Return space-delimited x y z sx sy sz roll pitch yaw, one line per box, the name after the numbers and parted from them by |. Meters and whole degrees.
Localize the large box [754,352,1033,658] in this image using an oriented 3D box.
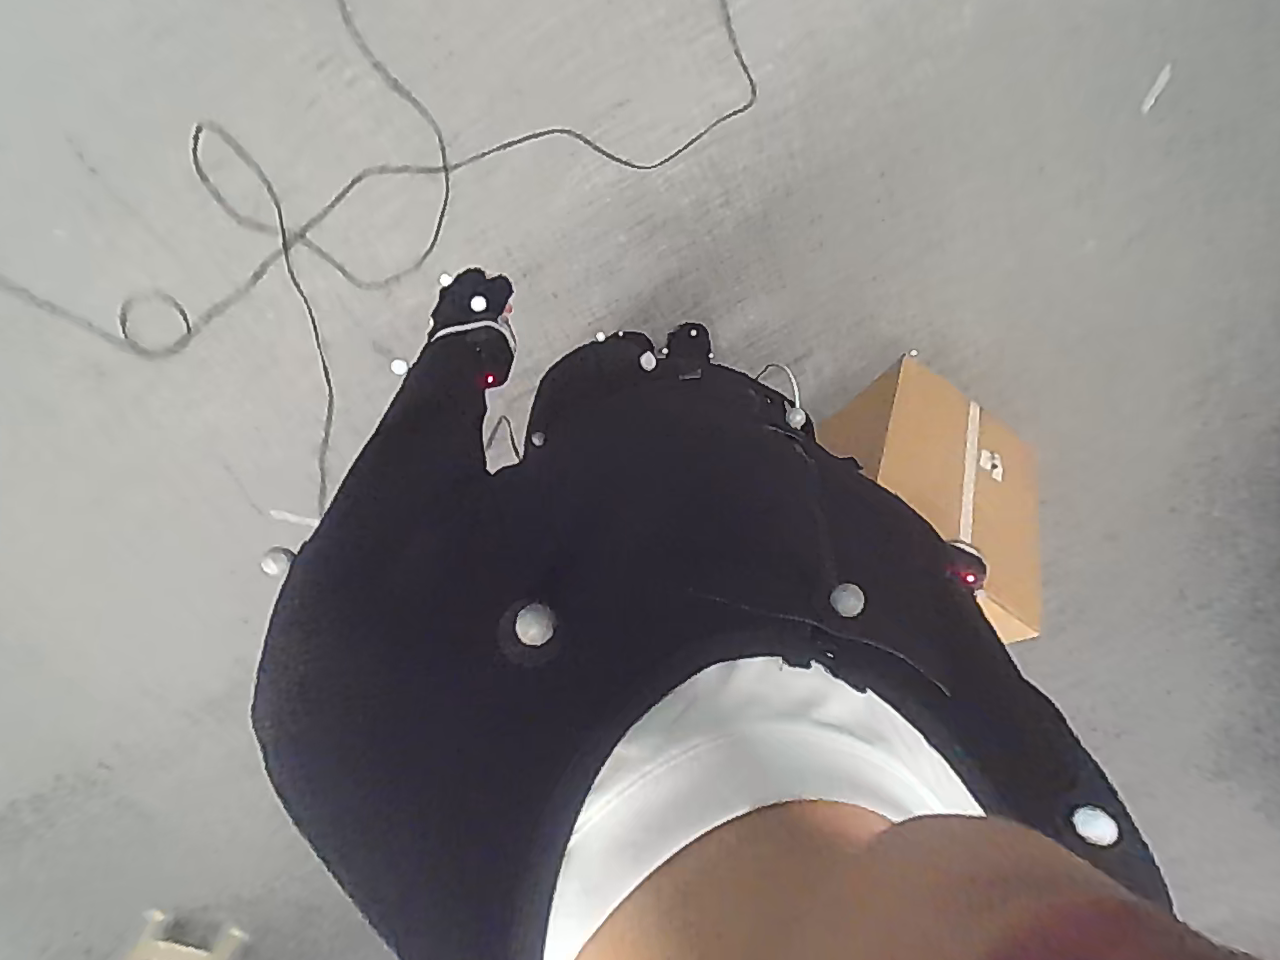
0.461 0.054 1.006 0.320 0.408 0.320 34 143 -6 | large box
